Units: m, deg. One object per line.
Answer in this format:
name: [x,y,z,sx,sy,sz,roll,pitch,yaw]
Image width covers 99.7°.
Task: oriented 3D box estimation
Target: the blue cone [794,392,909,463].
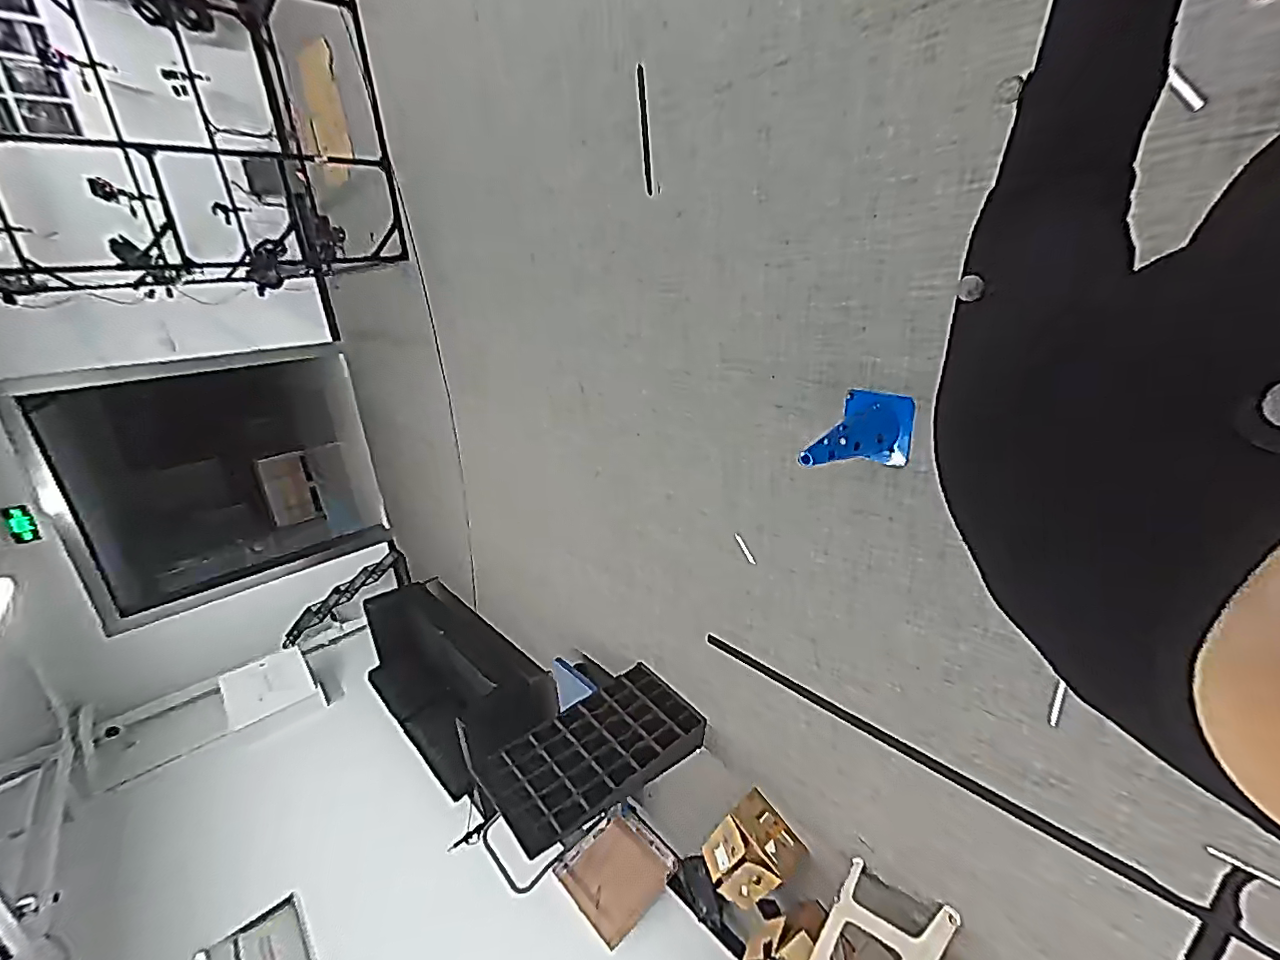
blue cone: [0.550,-0.108,1.460,0.192,0.380,0.193,23,123,45]
